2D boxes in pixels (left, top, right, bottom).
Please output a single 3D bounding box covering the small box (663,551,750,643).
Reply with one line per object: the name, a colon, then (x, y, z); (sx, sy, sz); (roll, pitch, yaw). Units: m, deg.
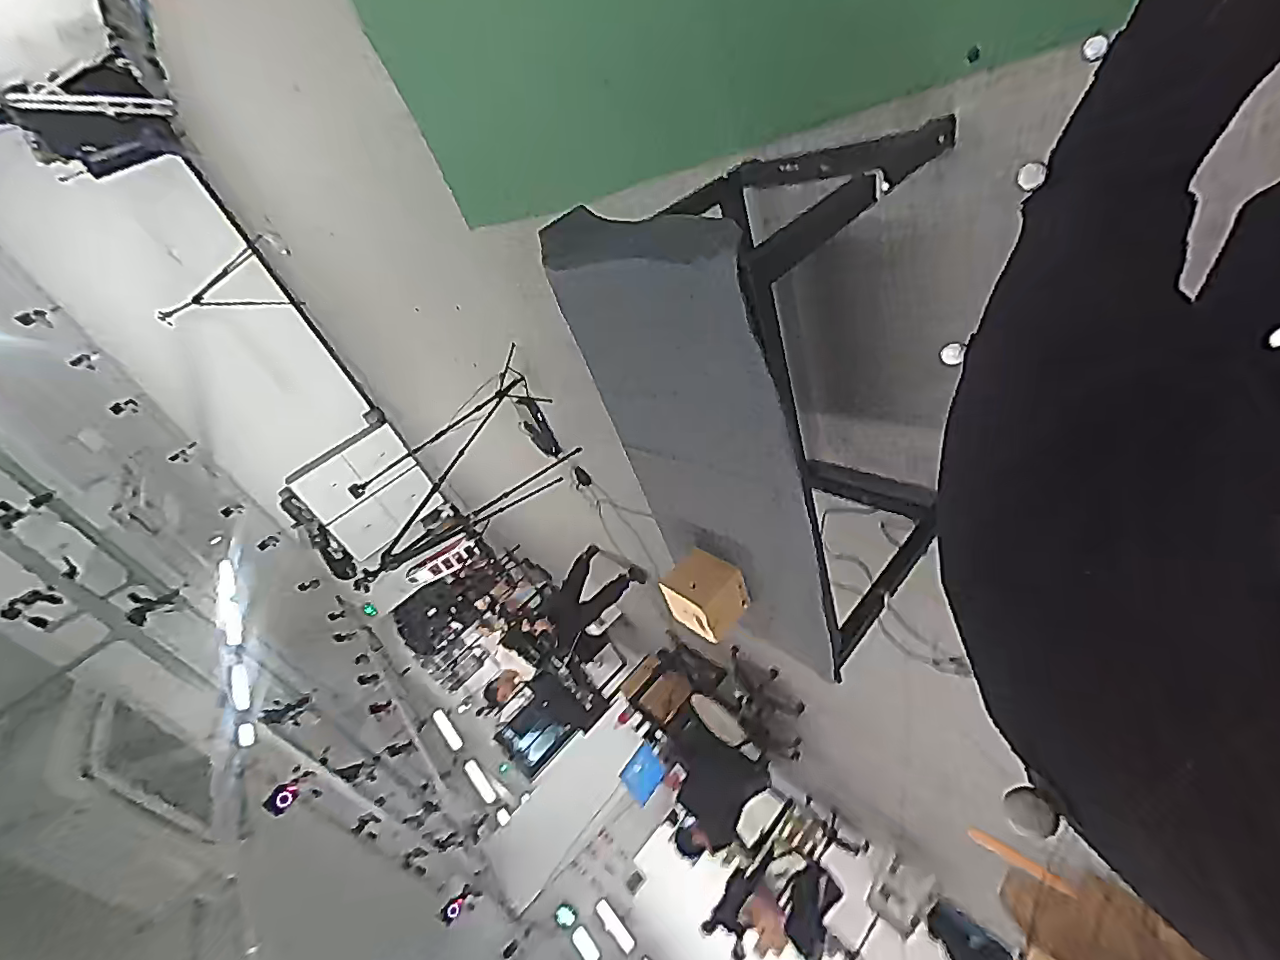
small box: (0.203, 0.334, 1.580); (0.179, 0.176, 0.168); (23, 144, 47)
